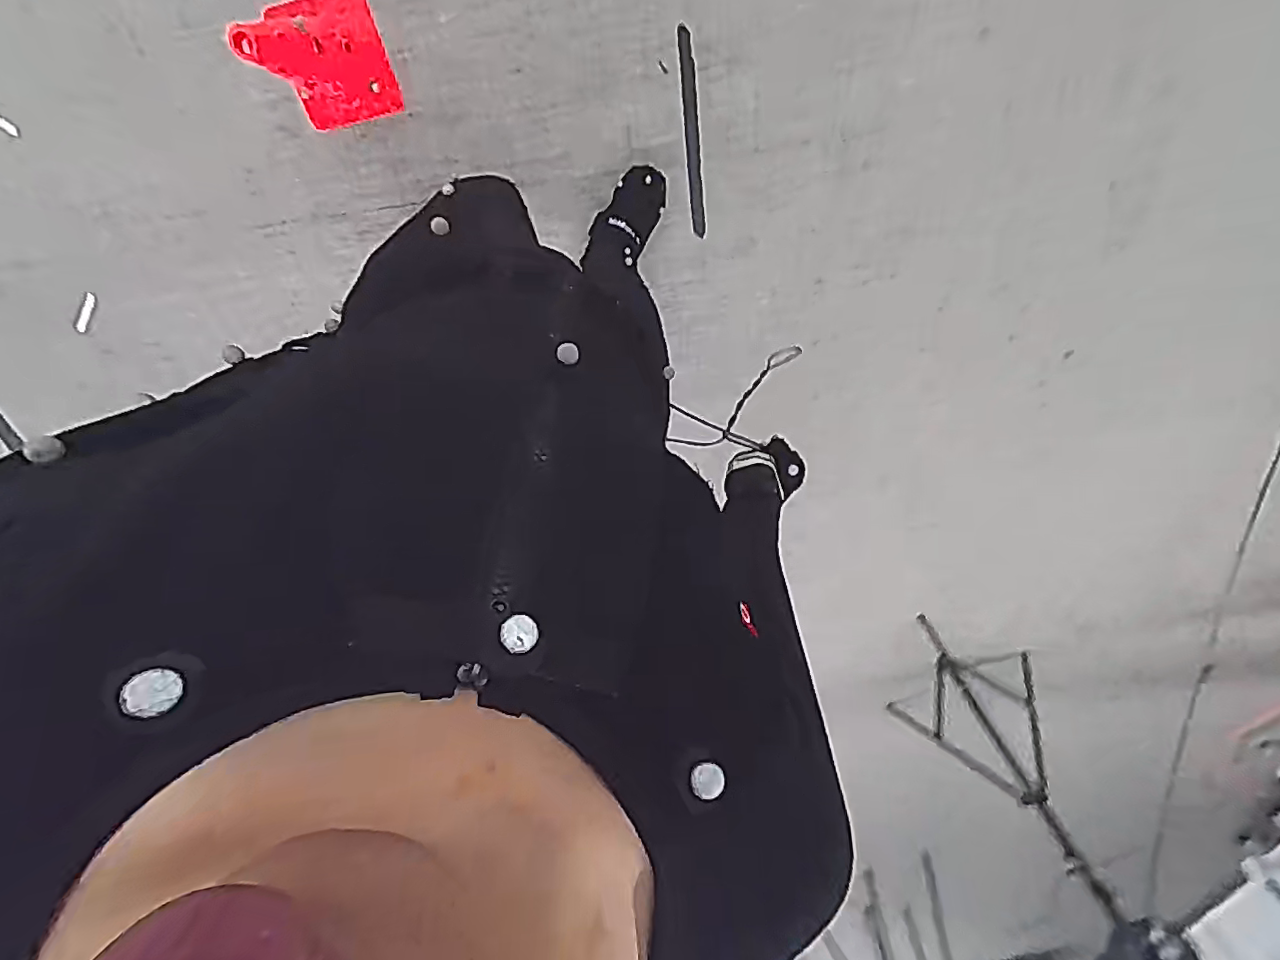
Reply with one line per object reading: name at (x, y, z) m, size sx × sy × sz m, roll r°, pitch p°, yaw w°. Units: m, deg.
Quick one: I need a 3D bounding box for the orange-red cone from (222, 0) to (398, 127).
orange-red cone at (-0.577, -0.717, 0.897) m, size 0.198 × 0.360 × 0.199 m, roll -12°, pitch 123°, yaw 2°
